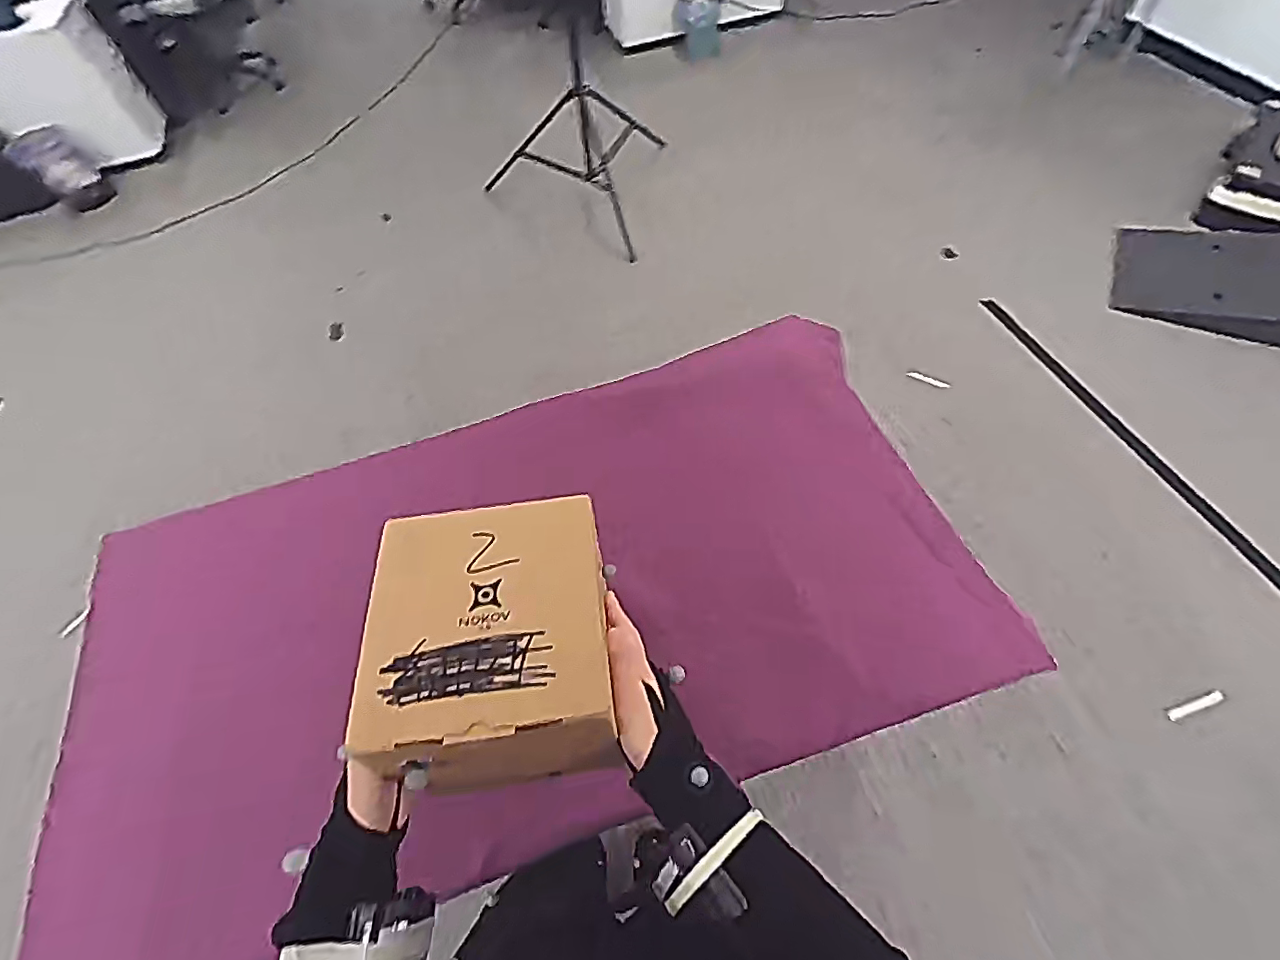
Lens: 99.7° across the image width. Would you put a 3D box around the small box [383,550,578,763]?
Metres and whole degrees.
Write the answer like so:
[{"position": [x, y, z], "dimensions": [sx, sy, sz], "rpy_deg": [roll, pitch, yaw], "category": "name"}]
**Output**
[{"position": [-0.181, 0.212, 0.636], "dimensions": [0.168, 0.176, 0.179], "rpy_deg": [-17, 59, -5], "category": "small box"}]
